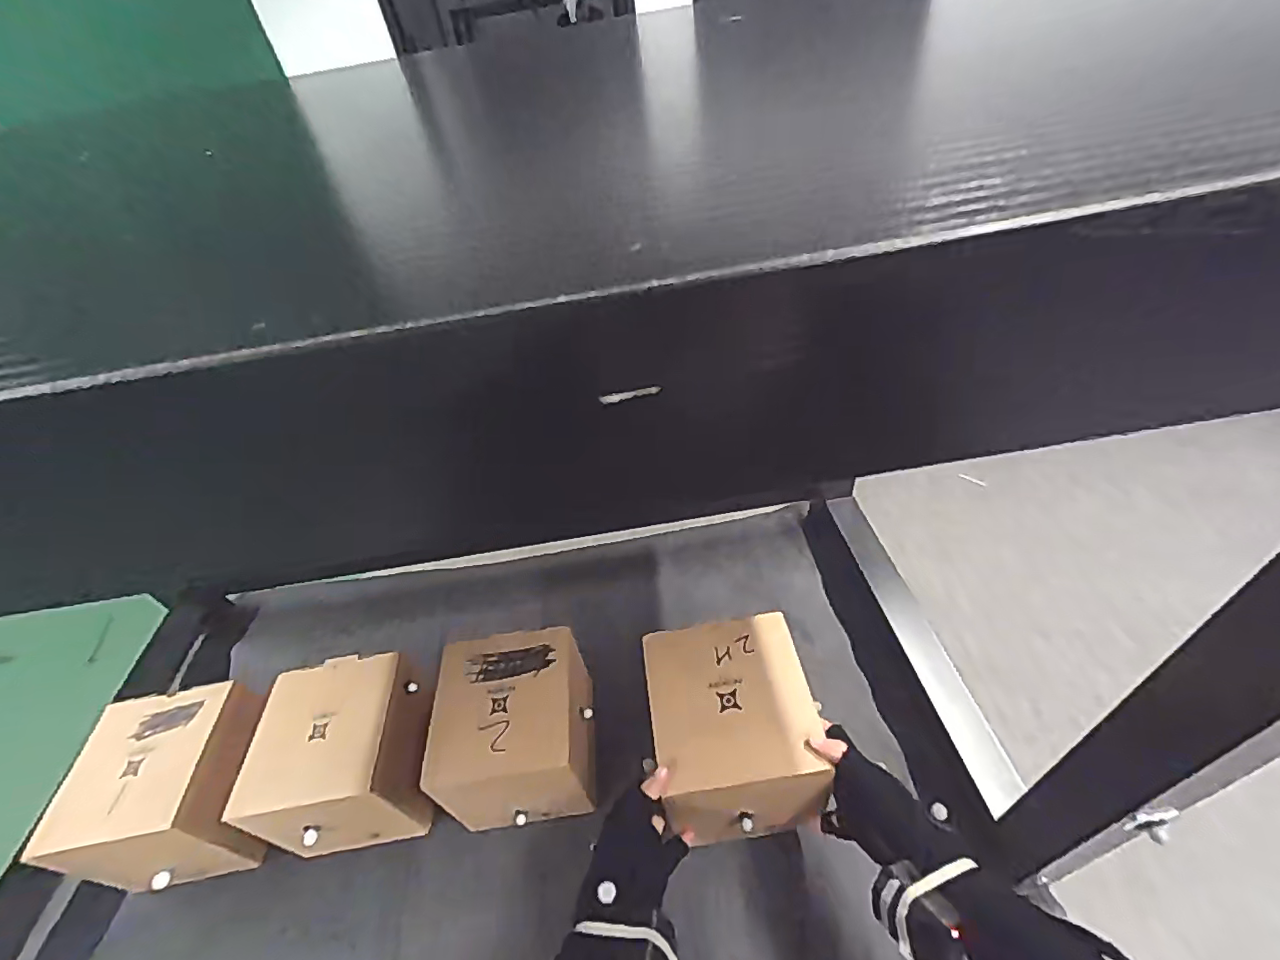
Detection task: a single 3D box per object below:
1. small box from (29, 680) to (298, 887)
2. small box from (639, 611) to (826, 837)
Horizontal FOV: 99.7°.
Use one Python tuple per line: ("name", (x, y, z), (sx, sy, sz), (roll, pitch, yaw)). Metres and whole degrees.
("small box", (-0.586, 0.393, 0.702), (0.168, 0.176, 0.179), (-11, 43, -1))
("small box", (0.098, 0.279, 0.611), (0.168, 0.176, 0.179), (-10, 41, 2))
